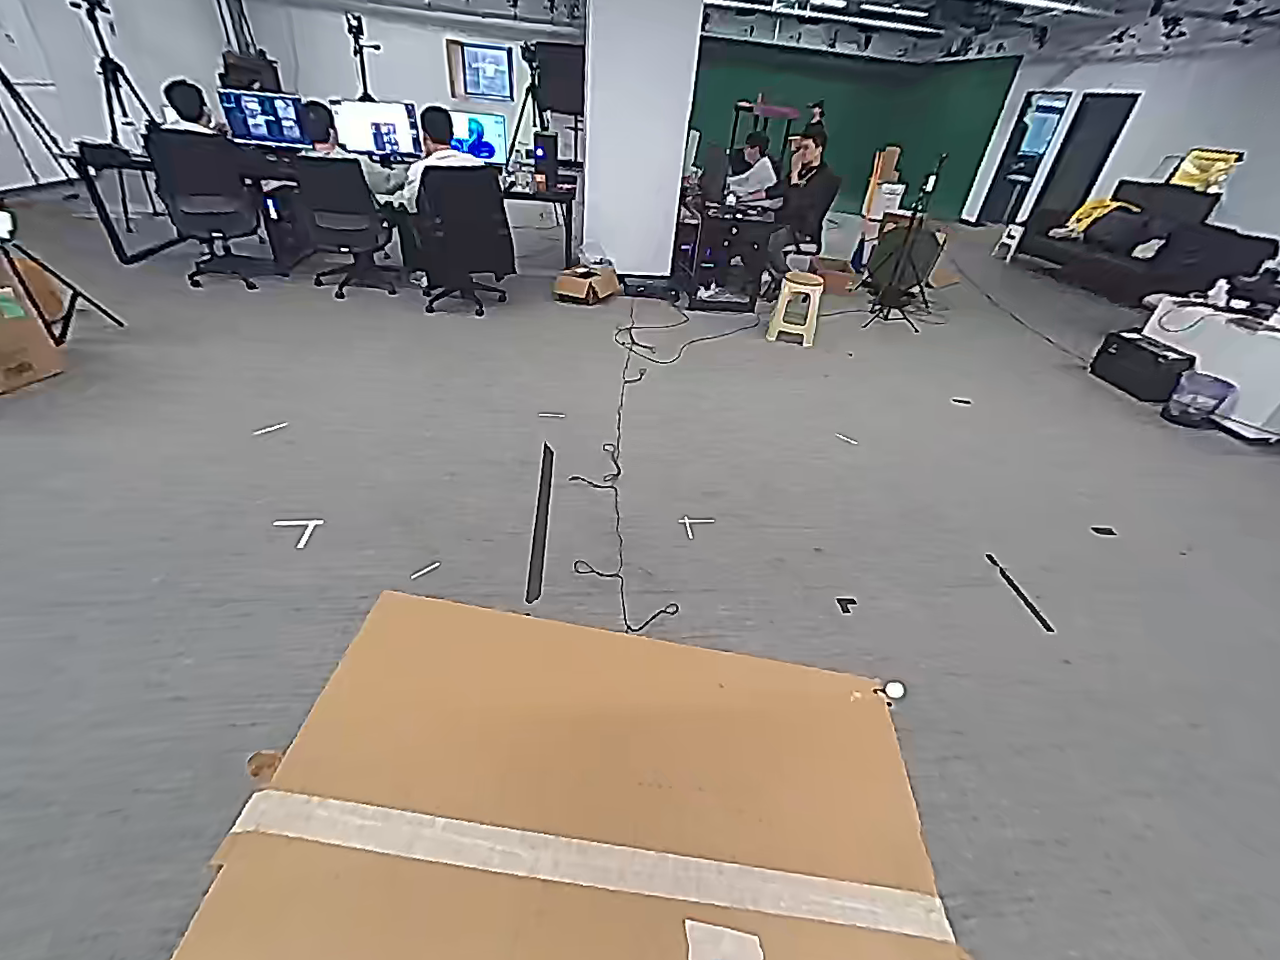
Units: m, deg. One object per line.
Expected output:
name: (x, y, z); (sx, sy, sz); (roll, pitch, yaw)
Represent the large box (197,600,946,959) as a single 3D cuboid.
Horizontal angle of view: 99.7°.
large box: (-0.043, 0.338, 0.417); (0.408, 0.320, 0.320); (12, 41, -3)
